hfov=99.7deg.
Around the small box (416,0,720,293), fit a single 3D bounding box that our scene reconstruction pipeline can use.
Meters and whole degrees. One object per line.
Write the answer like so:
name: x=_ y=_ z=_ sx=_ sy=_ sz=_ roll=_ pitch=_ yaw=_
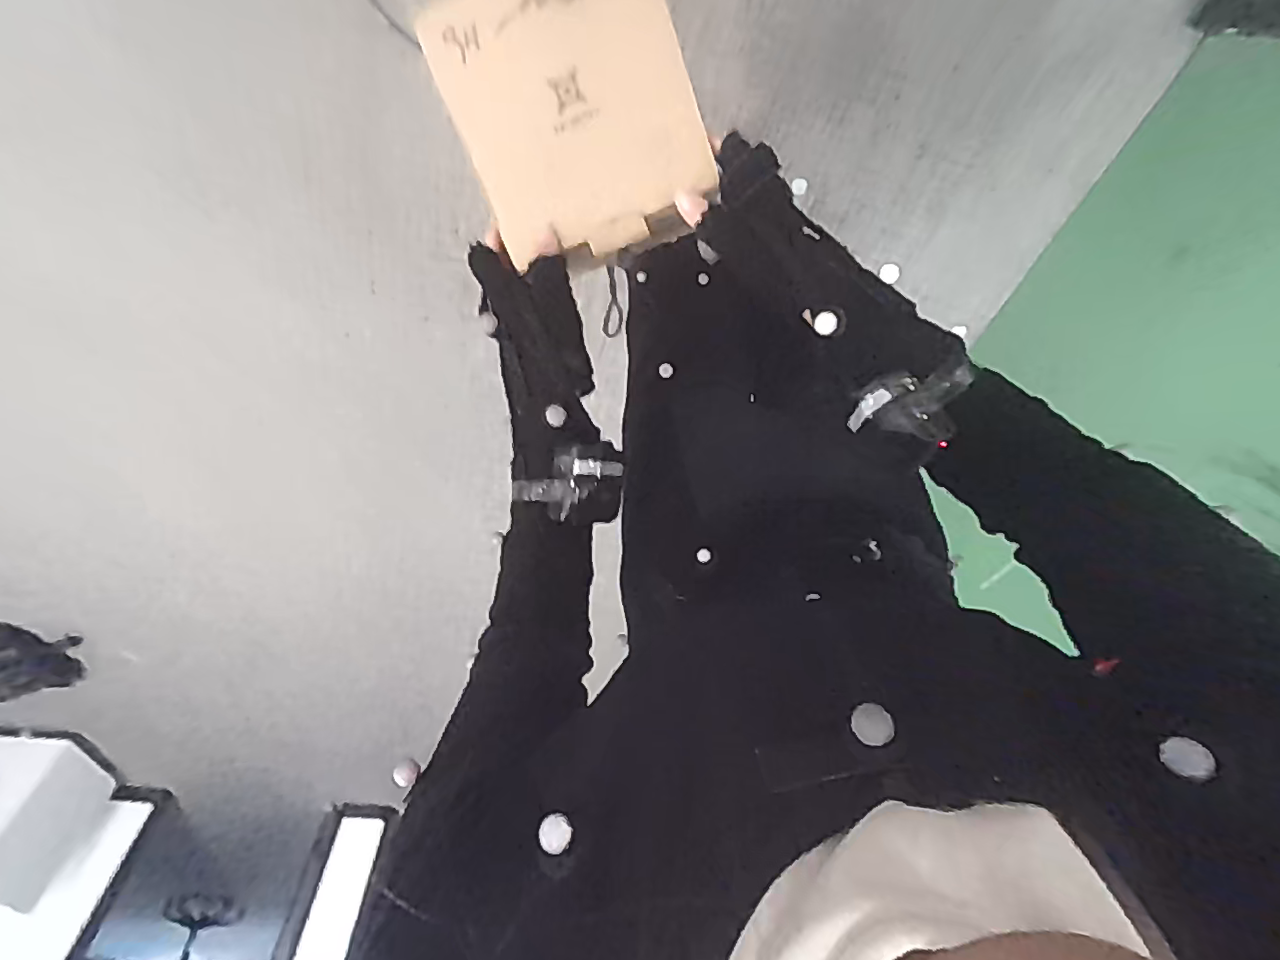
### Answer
small box: x=-0.042 y=-0.274 z=0.455 sx=0.168 sy=0.176 sz=0.179 roll=-22 pitch=104 yaw=10
